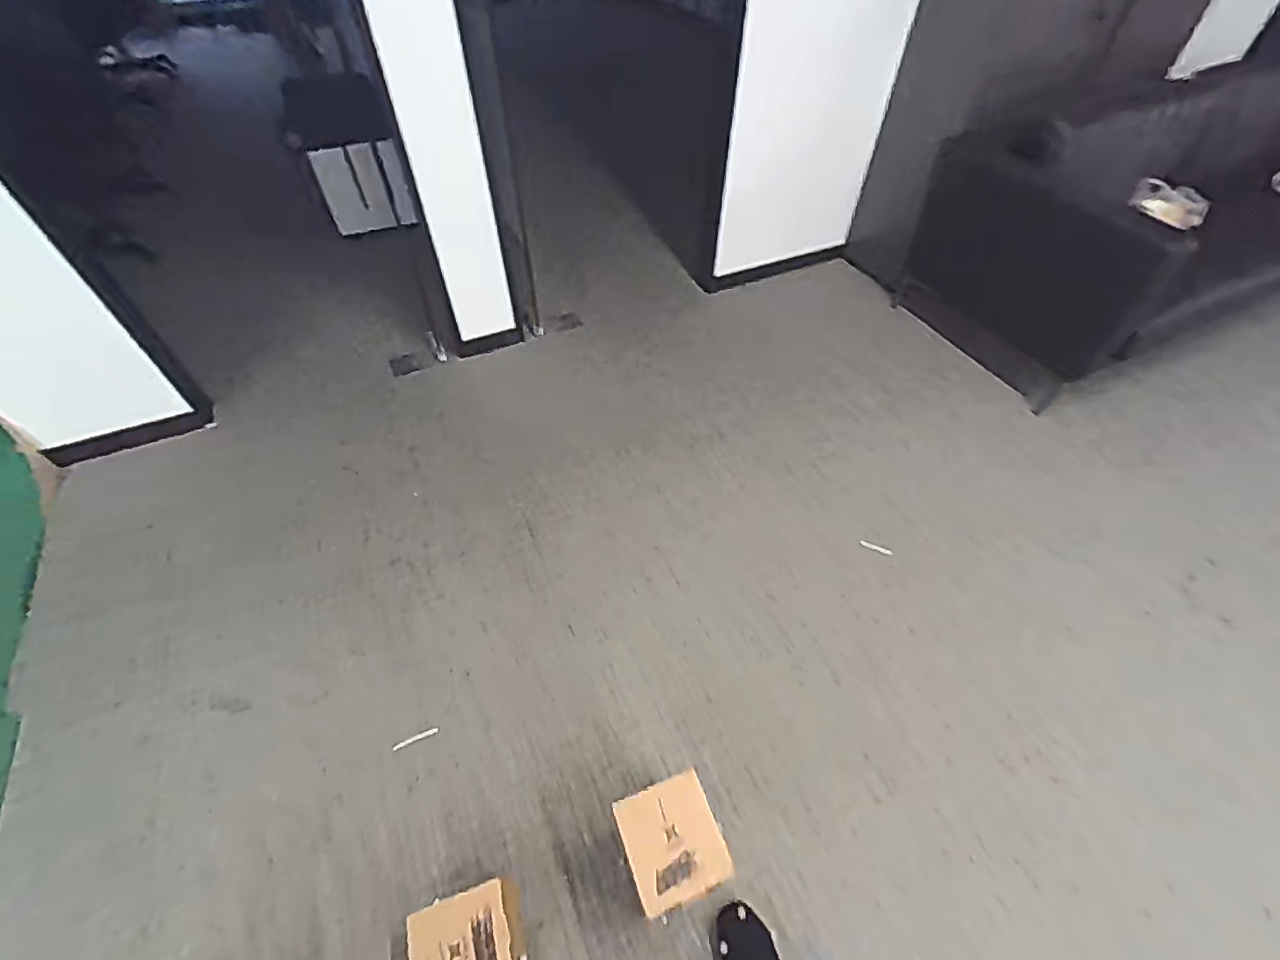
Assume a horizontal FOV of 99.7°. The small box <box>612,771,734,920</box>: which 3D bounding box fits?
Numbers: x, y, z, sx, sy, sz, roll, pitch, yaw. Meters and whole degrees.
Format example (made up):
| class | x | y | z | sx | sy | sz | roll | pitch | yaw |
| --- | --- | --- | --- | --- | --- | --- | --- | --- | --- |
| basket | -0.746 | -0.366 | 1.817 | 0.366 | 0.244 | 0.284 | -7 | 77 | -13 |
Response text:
| class | x | y | z | sx | sy | sz | roll | pitch | yaw |
| --- | --- | --- | --- | --- | --- | --- | --- | --- | --- |
| small box | 0.056 | 0.674 | 0.999 | 0.168 | 0.176 | 0.179 | -17 | 52 | -14 |
